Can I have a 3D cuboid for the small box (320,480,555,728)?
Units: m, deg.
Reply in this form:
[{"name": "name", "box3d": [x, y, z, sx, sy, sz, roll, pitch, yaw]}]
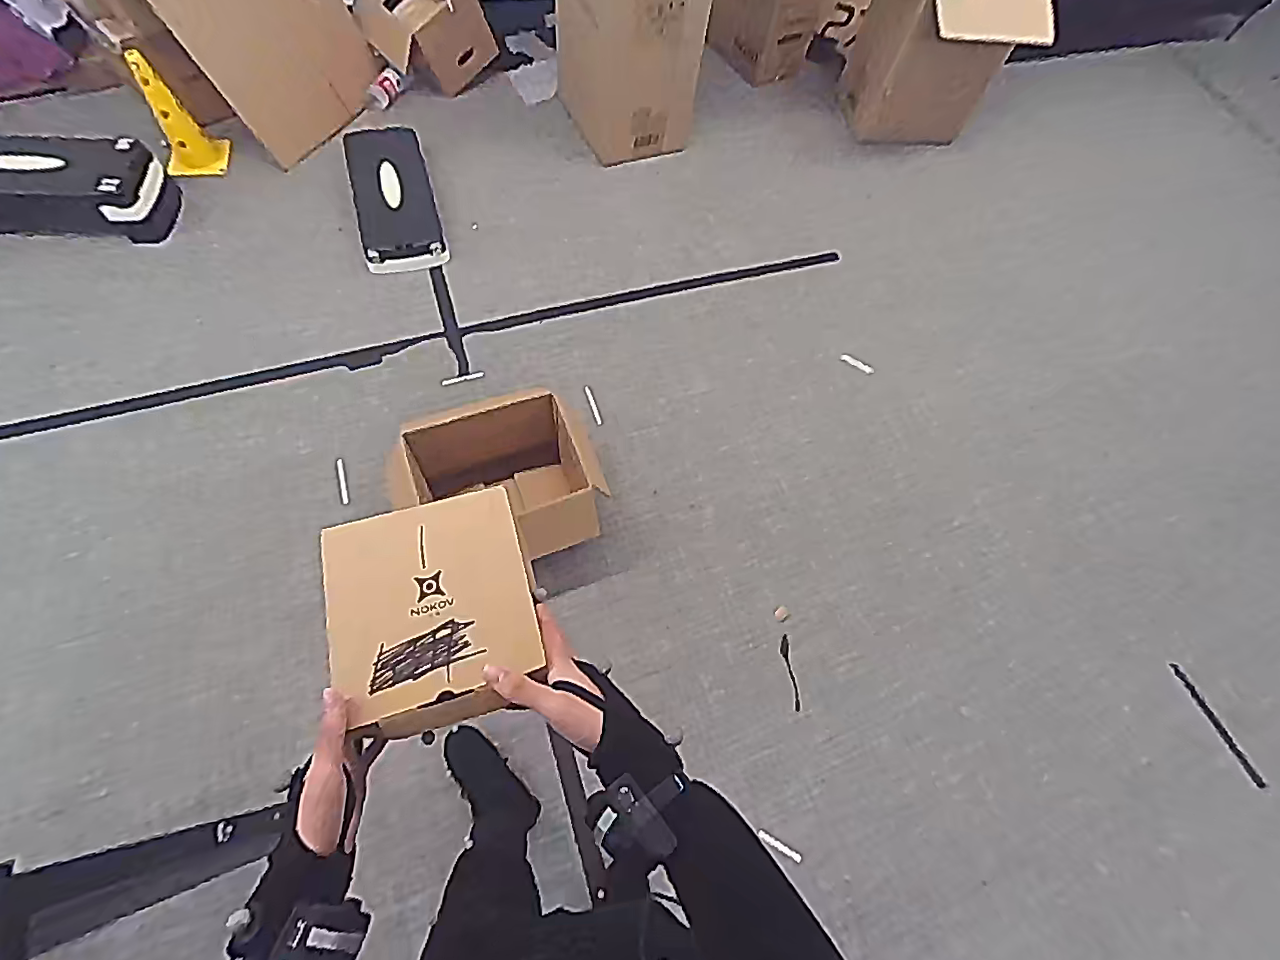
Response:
[{"name": "small box", "box3d": [-0.183, 0.127, 0.524, 0.168, 0.176, 0.179, -13, 65, -11]}]
